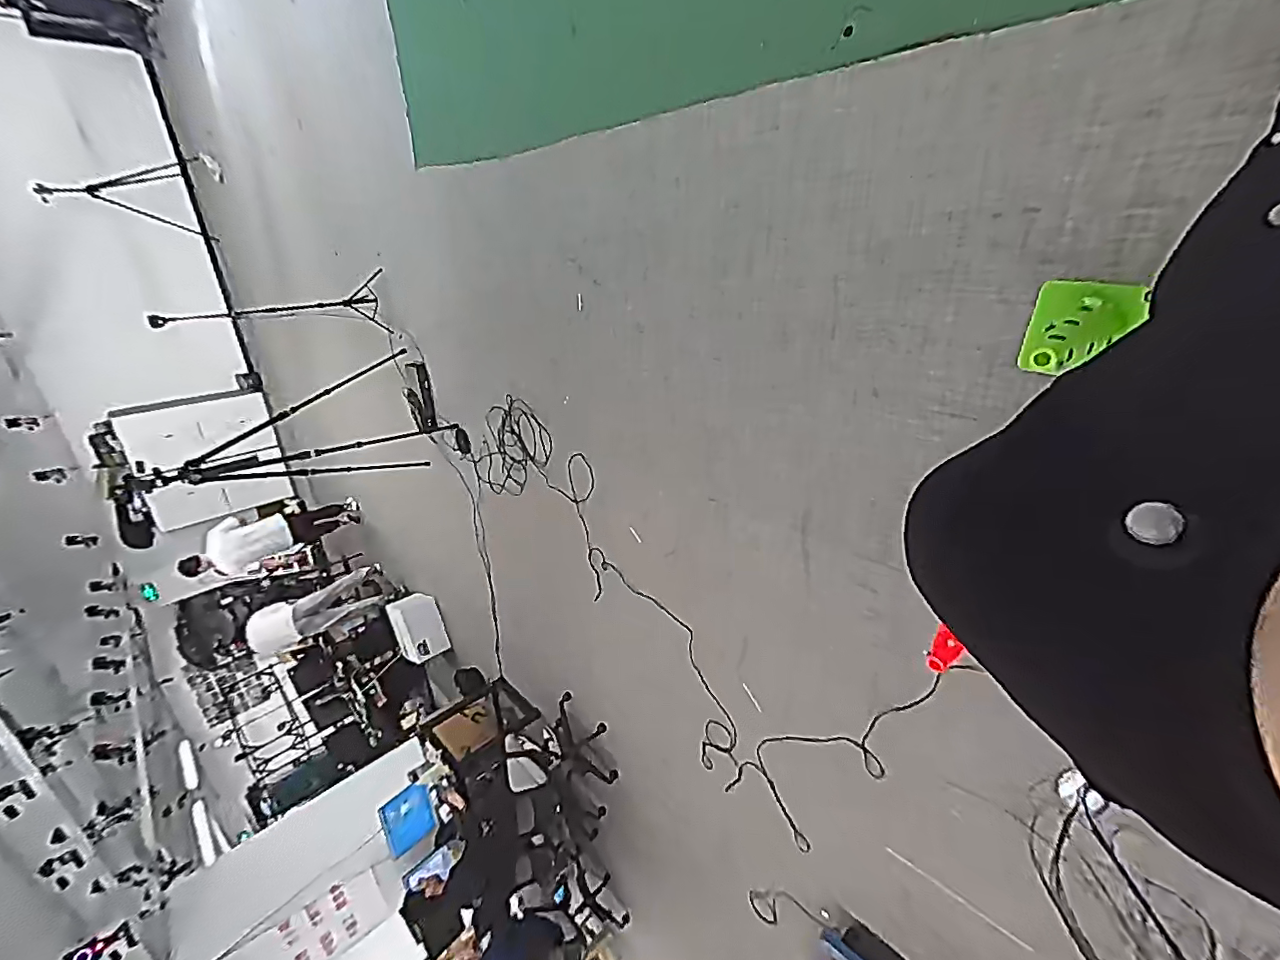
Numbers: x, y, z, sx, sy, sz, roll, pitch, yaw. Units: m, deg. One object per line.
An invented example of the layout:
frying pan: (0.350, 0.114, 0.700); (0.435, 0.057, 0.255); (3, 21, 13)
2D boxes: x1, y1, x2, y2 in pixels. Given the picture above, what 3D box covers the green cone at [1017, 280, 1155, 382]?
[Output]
green cone: (0.828, -0.267, 1.061); (0.200, 0.368, 0.202); (24, 126, 40)
